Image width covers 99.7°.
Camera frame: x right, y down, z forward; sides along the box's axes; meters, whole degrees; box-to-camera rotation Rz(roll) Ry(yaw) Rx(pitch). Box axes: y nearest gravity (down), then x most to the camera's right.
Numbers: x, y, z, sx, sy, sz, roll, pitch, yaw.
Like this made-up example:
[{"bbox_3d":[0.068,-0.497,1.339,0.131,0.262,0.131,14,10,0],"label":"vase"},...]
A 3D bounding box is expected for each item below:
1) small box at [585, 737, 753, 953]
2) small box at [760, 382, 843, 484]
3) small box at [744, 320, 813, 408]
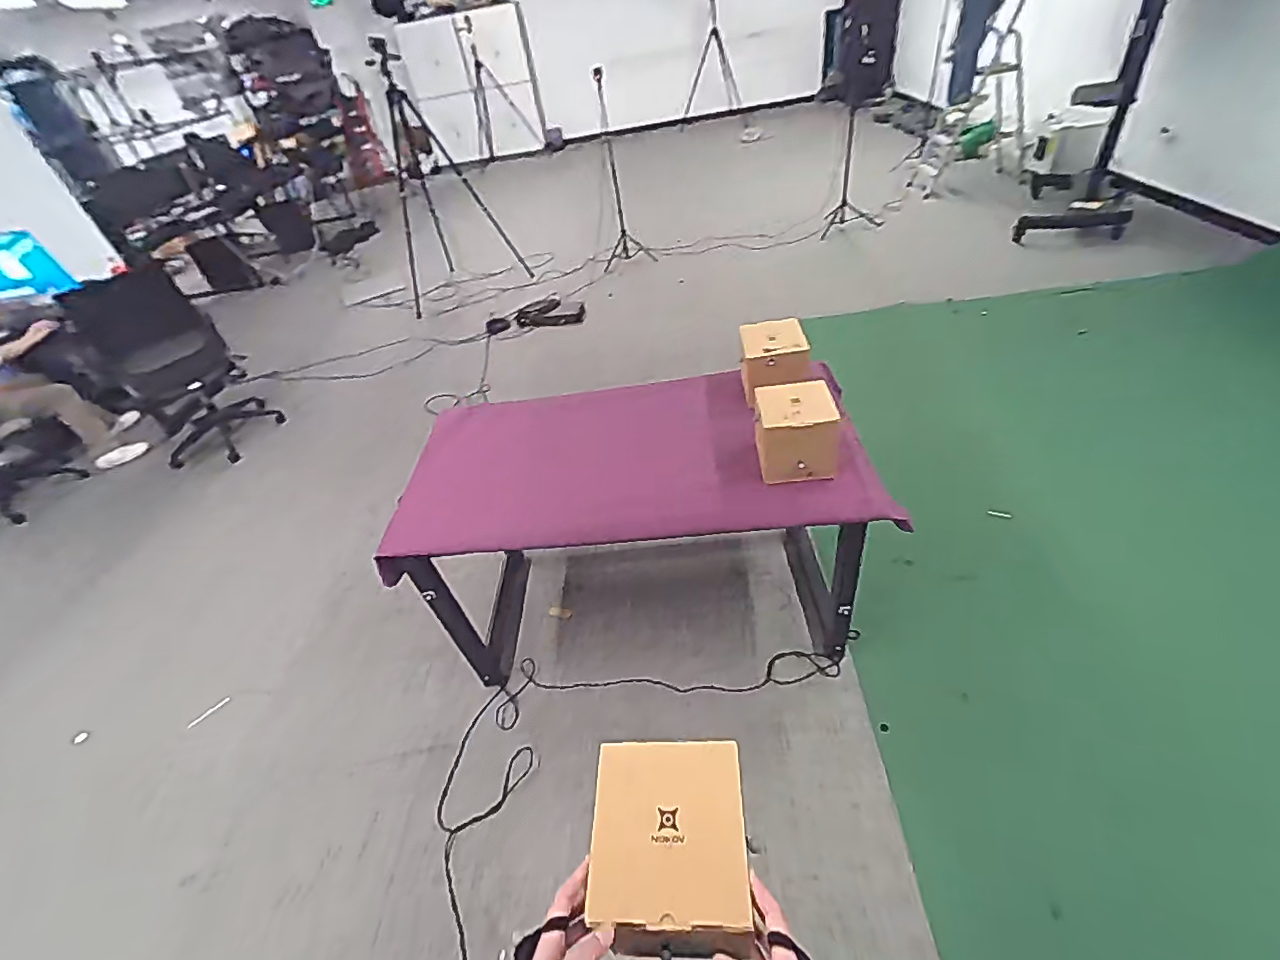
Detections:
[{"bbox_3d":[0.039,0.426,0.637,0.168,0.176,0.179,-3,43,6],"label":"small box"},{"bbox_3d":[0.378,-0.112,1.293,0.168,0.176,0.179,-5,40,9],"label":"small box"},{"bbox_3d":[0.386,-0.327,1.531,0.168,0.176,0.179,-7,43,8],"label":"small box"}]
